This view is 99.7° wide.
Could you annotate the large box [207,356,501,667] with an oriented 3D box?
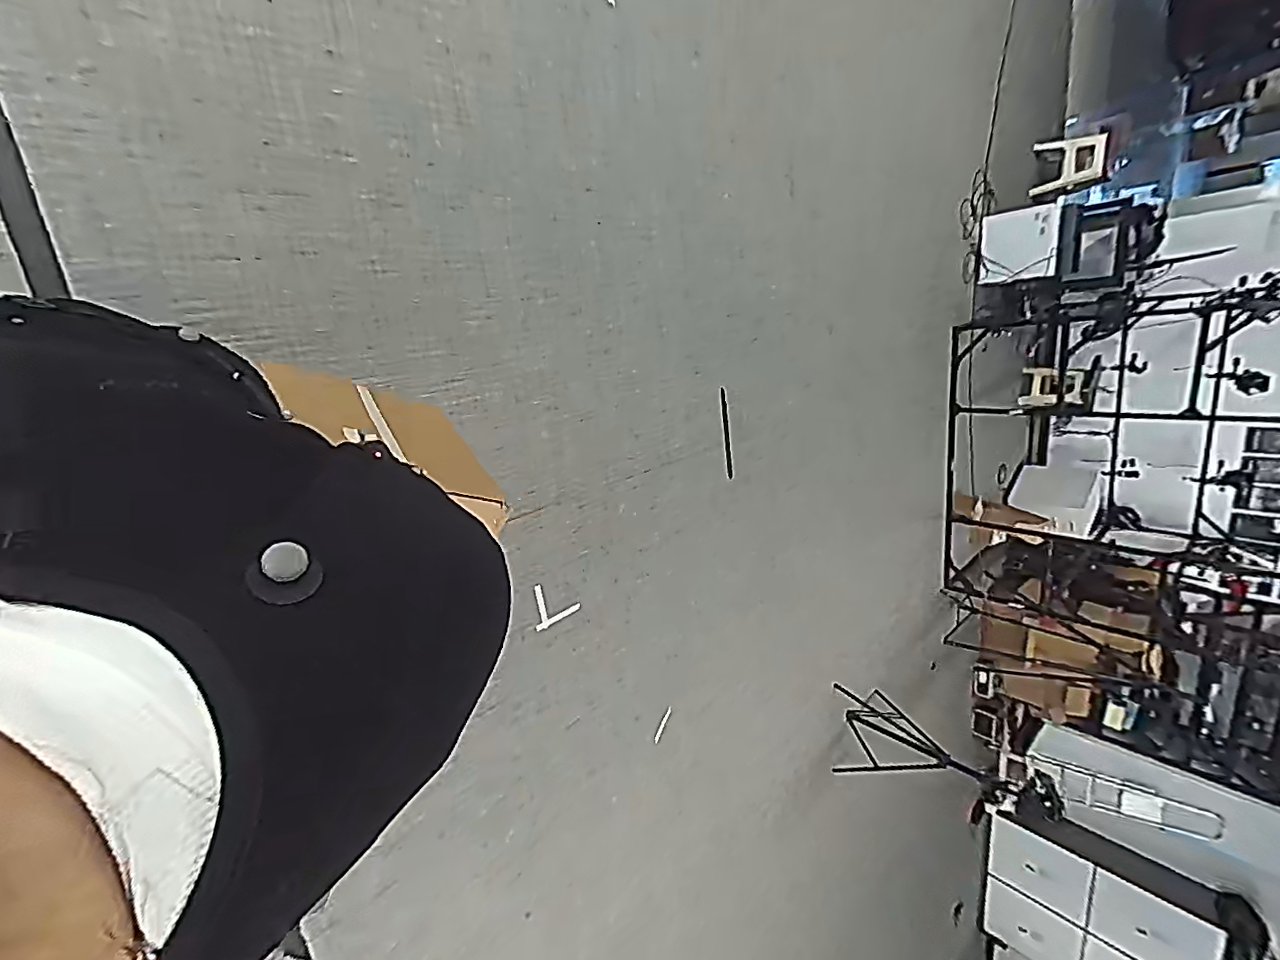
[{"bbox_3d":[-0.493,0.045,0.901,0.320,0.408,0.320,12,112,-42],"label":"large box"}]
